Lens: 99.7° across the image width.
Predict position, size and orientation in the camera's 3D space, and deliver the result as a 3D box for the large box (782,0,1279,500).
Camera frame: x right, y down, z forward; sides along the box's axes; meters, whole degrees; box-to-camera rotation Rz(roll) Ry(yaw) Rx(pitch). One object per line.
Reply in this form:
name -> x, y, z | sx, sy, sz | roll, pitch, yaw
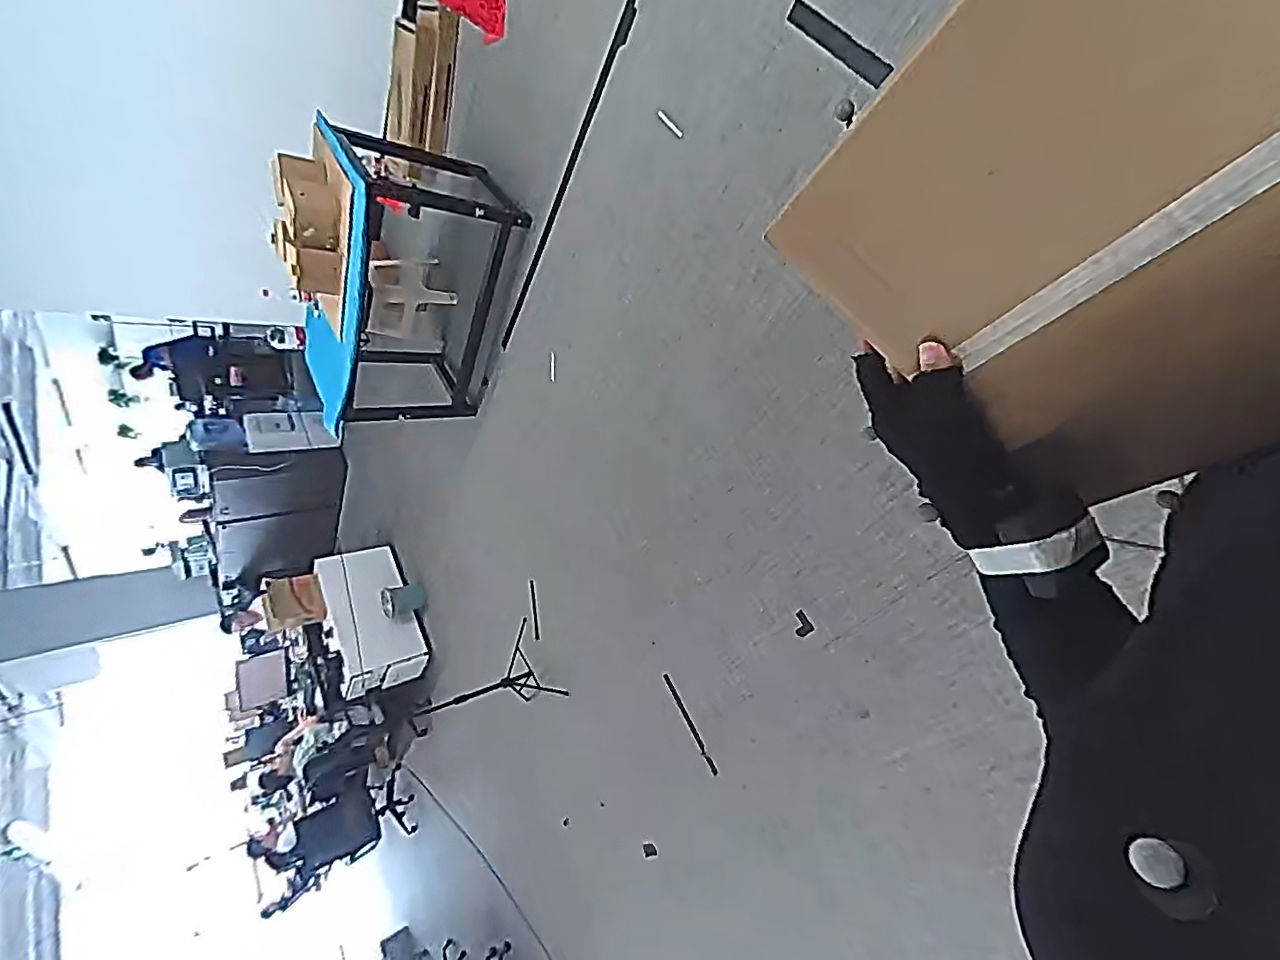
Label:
large box -> 0.371, -0.258, 0.351 | 0.320, 0.320, 0.408 | 39, 141, -8
